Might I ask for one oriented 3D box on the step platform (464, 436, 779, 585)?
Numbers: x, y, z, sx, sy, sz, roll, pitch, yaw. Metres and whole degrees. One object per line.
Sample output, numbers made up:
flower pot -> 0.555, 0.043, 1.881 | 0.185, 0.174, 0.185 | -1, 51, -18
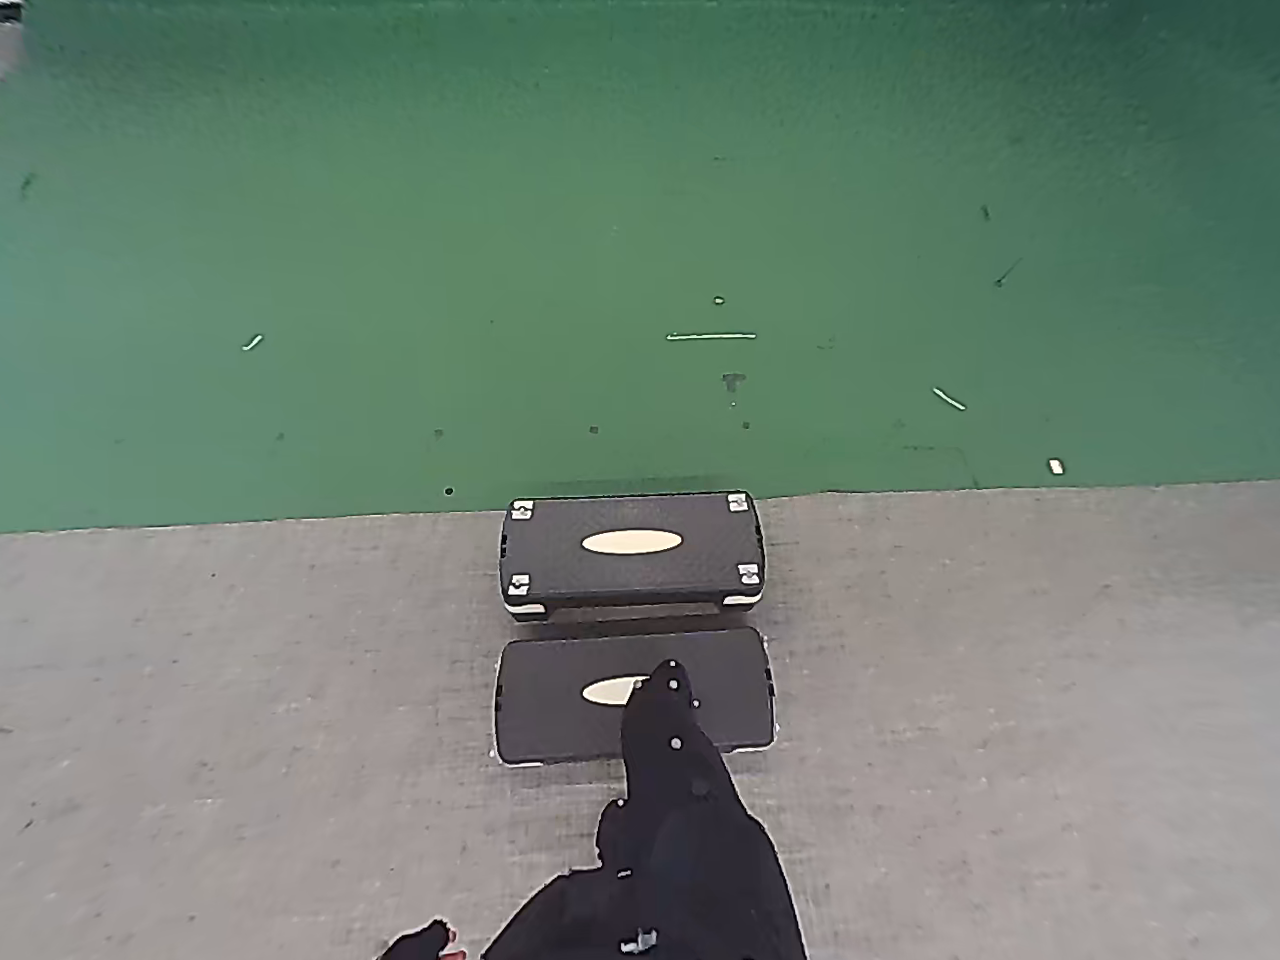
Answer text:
step platform -> -0.040, 0.076, 1.264 | 0.684, 0.204, 0.286 | -3, 62, -1
